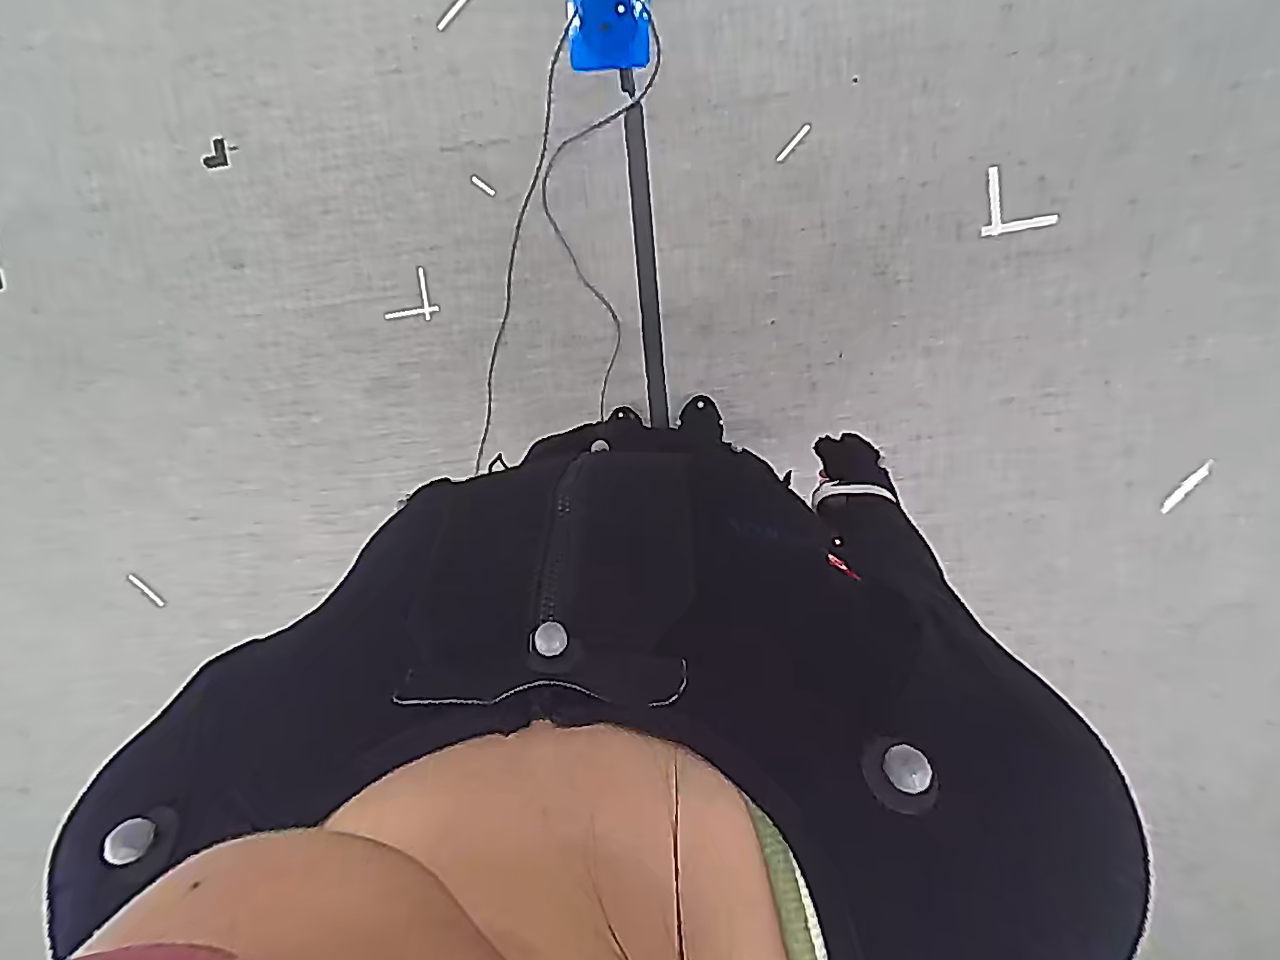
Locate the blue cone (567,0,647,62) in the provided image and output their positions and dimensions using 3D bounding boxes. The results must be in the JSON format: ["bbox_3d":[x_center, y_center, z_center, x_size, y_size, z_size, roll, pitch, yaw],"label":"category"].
[{"bbox_3d":[-0.094,-1.088,1.135,0.193,0.380,0.192,-2,99,5],"label":"blue cone"}]
